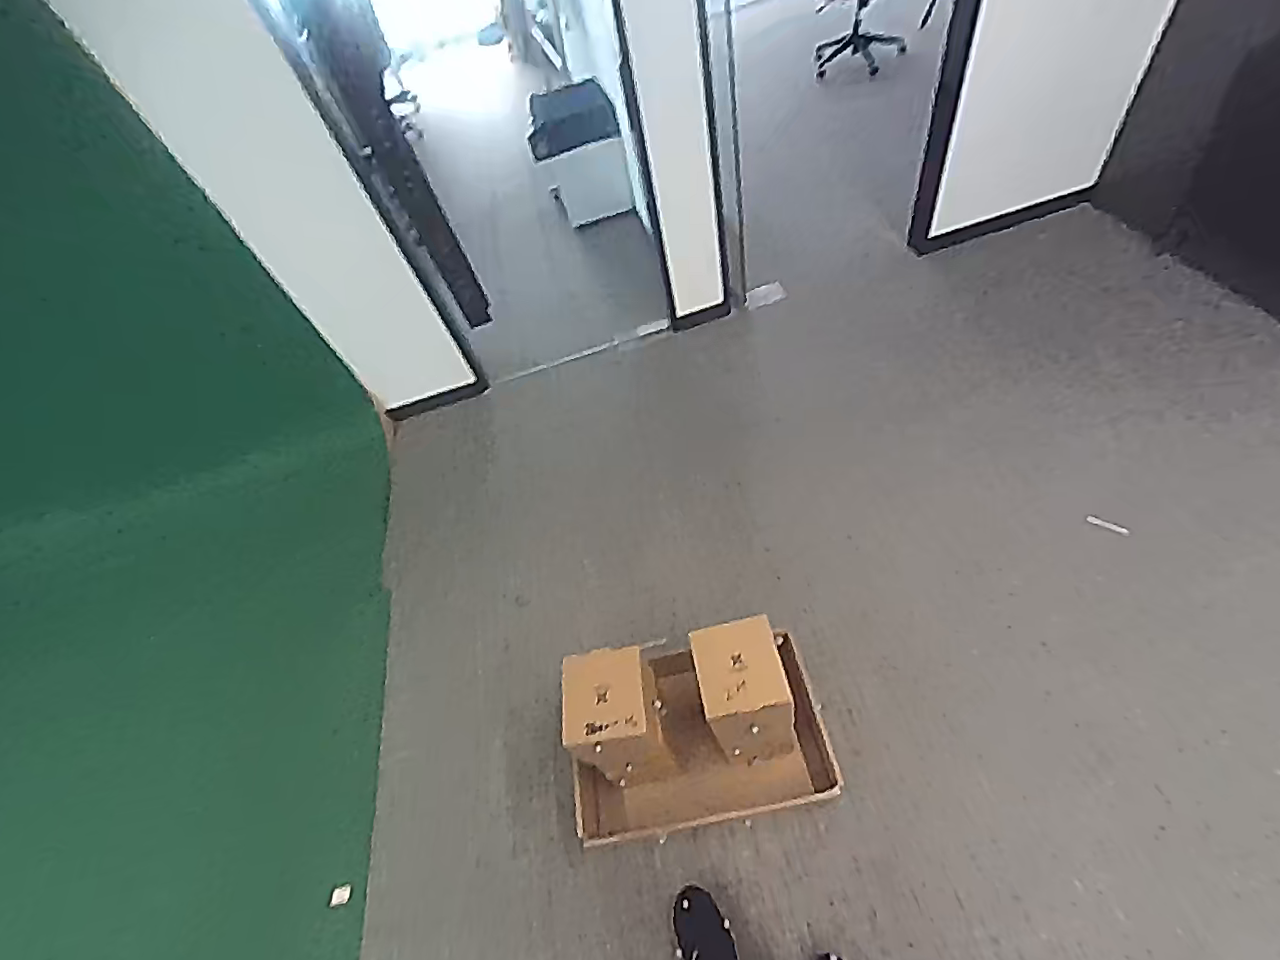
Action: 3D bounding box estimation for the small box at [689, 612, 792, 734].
[{"bbox_3d":[0.206,0.399,1.109,0.168,0.176,0.179,-15,51,6],"label":"small box"}]

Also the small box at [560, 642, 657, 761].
[{"bbox_3d":[-0.062,0.464,1.128,0.168,0.176,0.179,-10,50,6],"label":"small box"}]

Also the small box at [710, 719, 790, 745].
[{"bbox_3d":[0.242,0.494,1.239,0.168,0.176,0.179,-13,50,6],"label":"small box"}]

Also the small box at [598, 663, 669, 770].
[{"bbox_3d":[-0.032,0.555,1.262,0.168,0.176,0.179,-12,50,4],"label":"small box"}]
